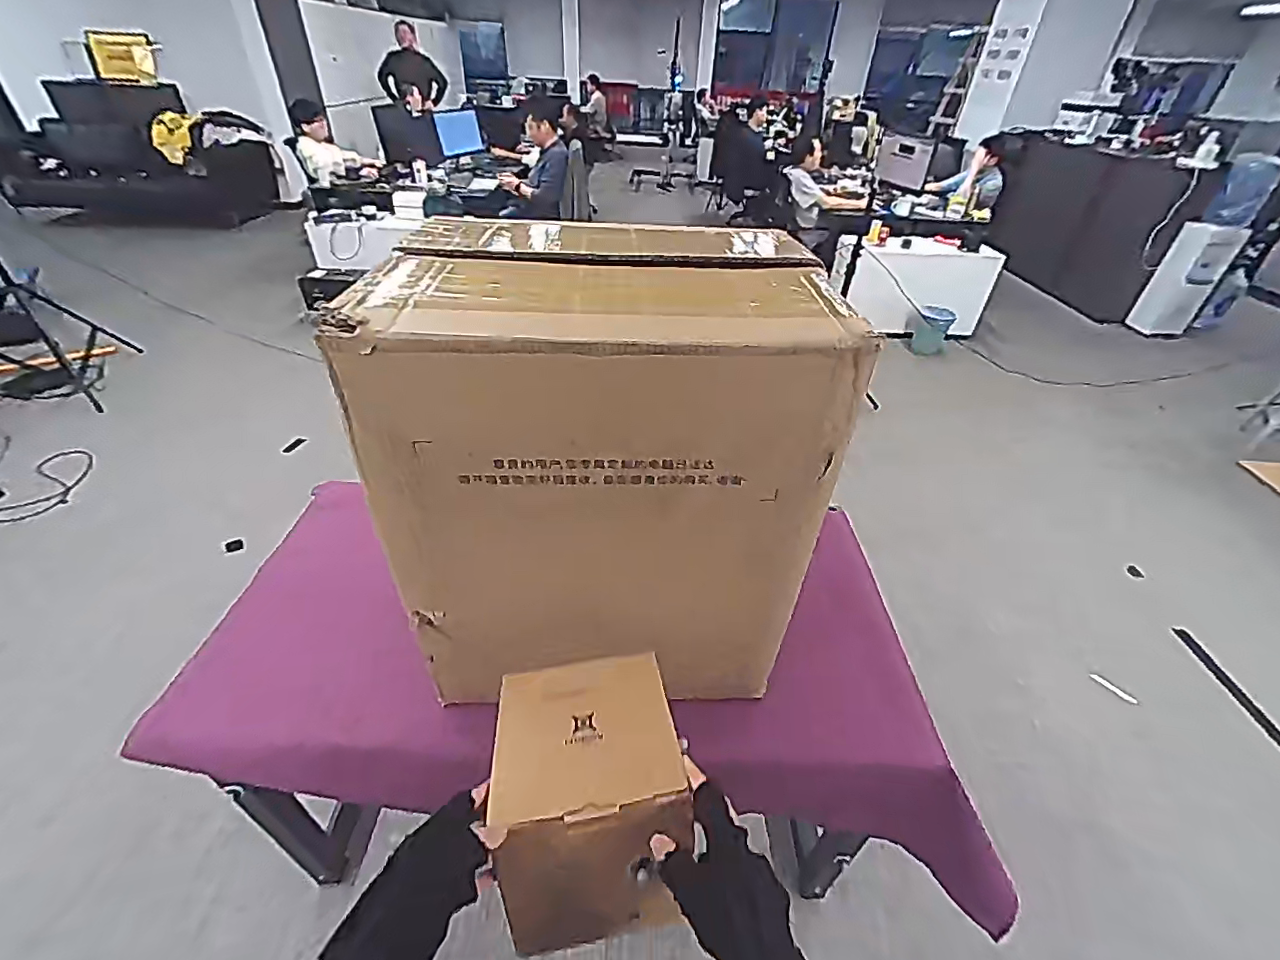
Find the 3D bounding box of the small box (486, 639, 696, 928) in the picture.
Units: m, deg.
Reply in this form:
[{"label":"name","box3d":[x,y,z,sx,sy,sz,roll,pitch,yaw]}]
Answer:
[{"label":"small box","box3d":[-0.045,0.287,0.523,0.168,0.176,0.179,-7,23,-8]}]
